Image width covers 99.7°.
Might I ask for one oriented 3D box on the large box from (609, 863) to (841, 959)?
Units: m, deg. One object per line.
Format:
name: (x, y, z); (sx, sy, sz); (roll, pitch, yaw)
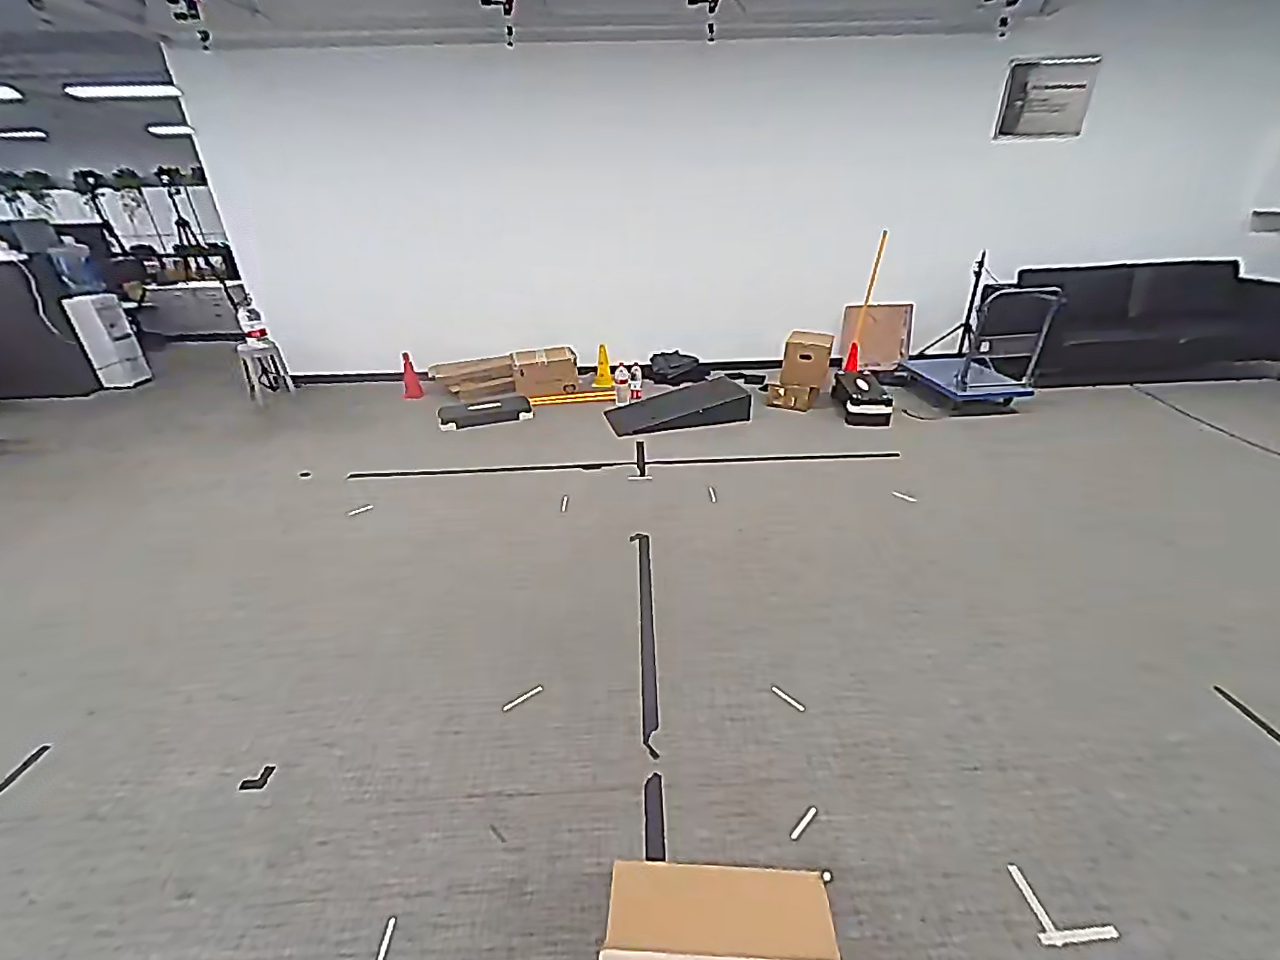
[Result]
large box: (0.143, 0.954, 0.980); (0.408, 0.320, 0.320); (1, 28, 3)
